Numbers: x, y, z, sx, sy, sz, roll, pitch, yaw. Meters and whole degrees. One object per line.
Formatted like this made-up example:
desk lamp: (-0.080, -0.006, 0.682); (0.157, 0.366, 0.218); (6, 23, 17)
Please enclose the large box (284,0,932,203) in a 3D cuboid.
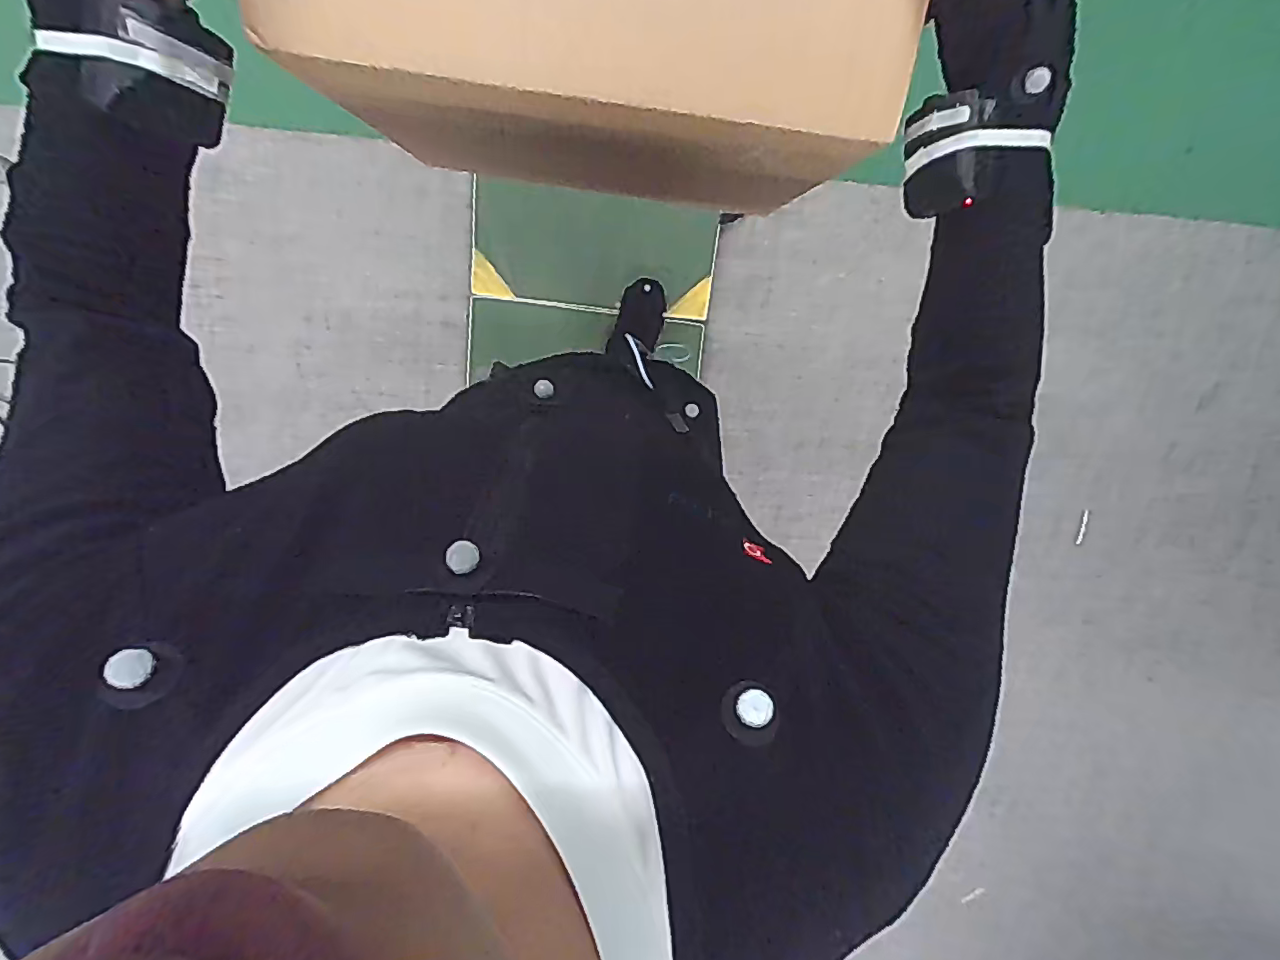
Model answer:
large box: (-0.013, -0.442, 0.440); (0.408, 0.320, 0.320); (5, 108, -5)
